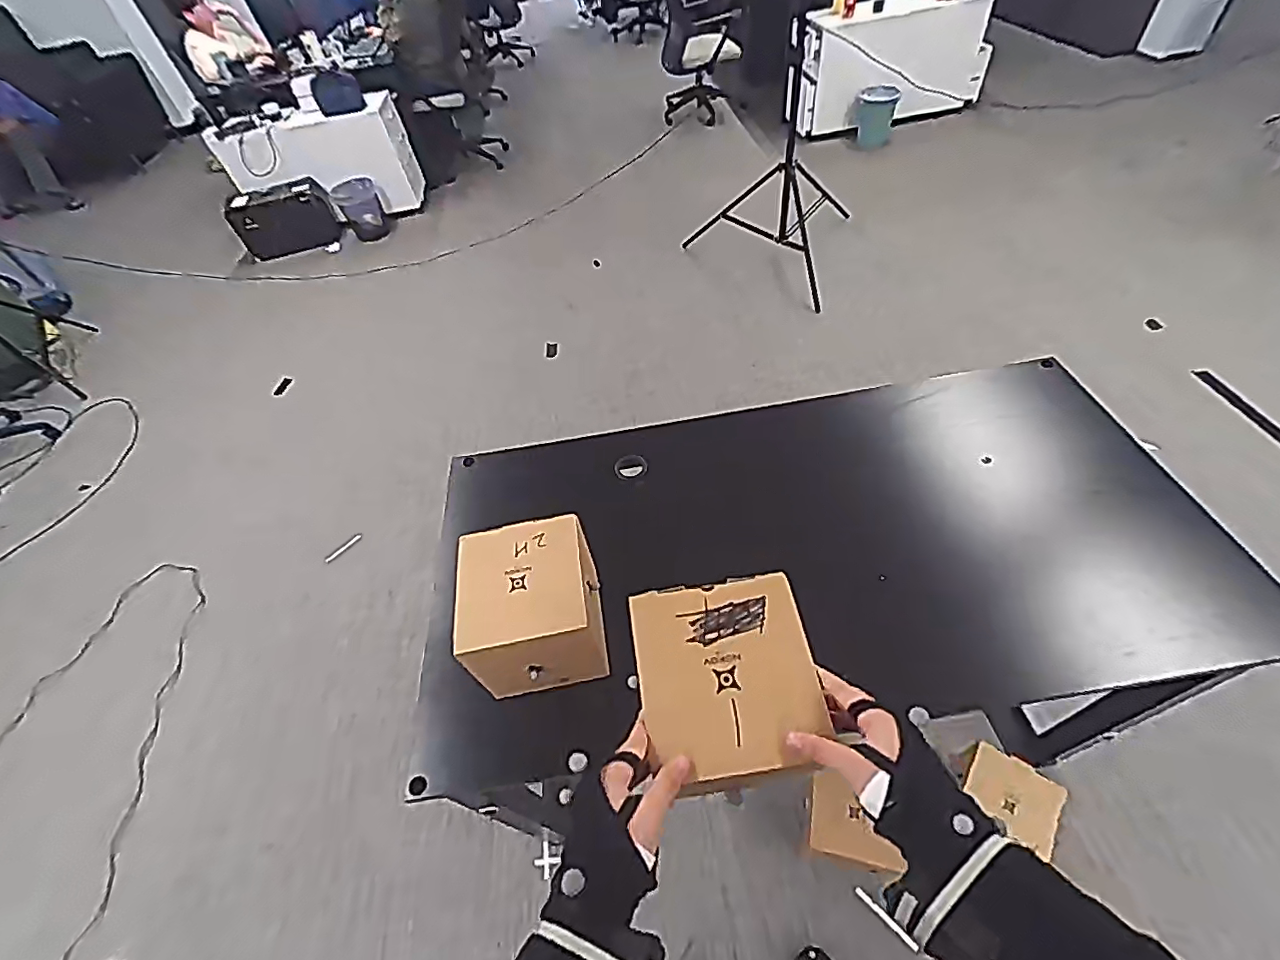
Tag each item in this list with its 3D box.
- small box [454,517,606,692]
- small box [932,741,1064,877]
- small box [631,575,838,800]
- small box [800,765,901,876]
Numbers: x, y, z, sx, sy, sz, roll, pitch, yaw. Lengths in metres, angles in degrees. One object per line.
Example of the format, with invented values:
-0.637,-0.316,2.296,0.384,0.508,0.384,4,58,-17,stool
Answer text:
-0.147,0.182,0.761,0.168,0.176,0.179,-11,50,-1,small box
0.750,0.699,1.147,0.168,0.176,0.179,26,59,27,small box
0.085,0.224,0.573,0.168,0.176,0.179,-9,56,0,small box
0.449,0.735,1.168,0.179,0.176,0.168,6,52,15,small box
